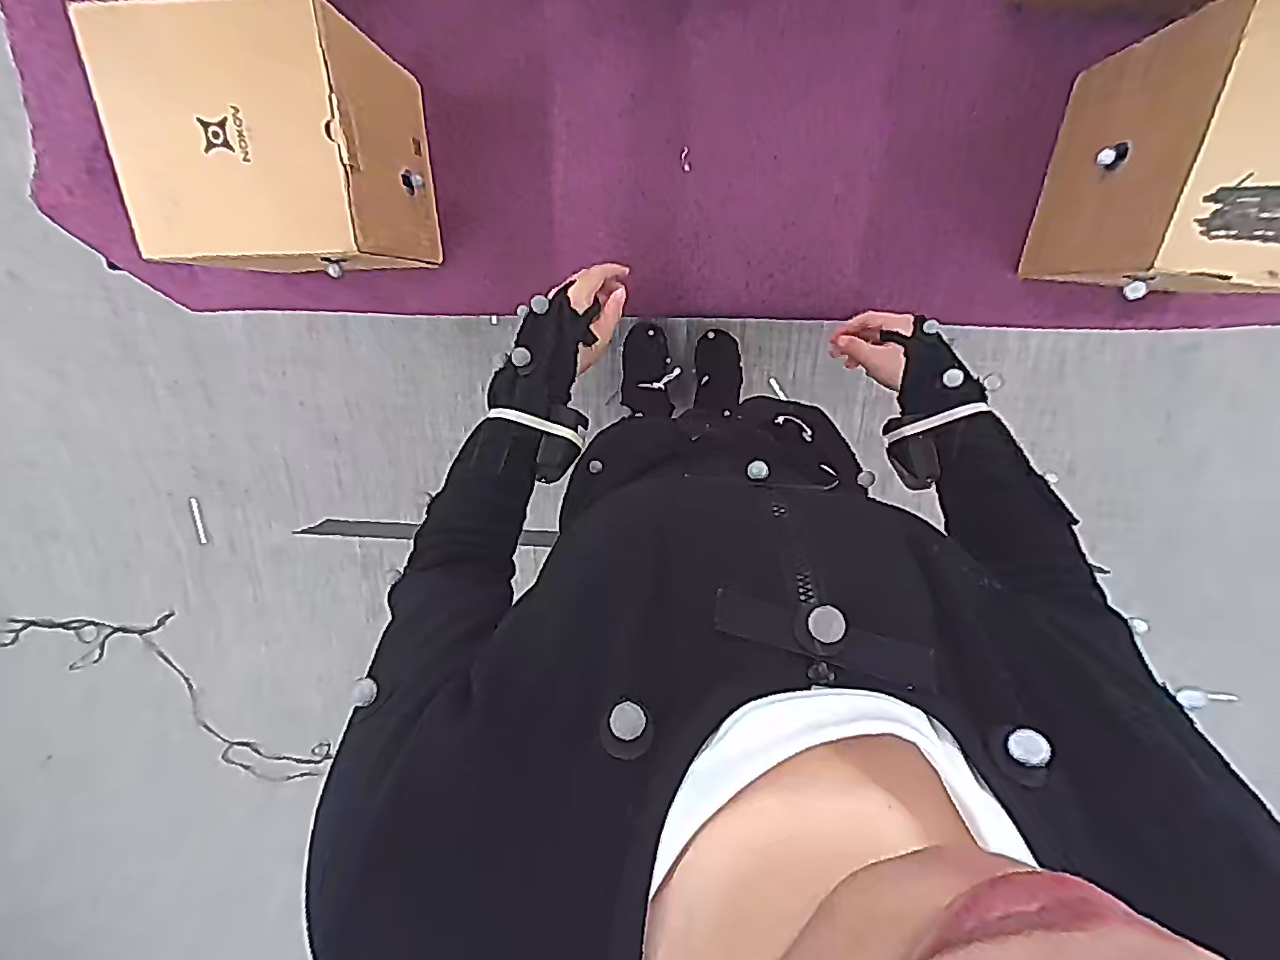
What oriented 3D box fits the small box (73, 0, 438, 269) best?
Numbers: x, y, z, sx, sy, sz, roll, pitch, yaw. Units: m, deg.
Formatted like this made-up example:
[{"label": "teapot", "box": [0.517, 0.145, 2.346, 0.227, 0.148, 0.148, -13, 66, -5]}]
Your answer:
[{"label": "small box", "box": [-0.301, -0.278, 0.470, 0.179, 0.176, 0.168, -2, 108, 2]}]
